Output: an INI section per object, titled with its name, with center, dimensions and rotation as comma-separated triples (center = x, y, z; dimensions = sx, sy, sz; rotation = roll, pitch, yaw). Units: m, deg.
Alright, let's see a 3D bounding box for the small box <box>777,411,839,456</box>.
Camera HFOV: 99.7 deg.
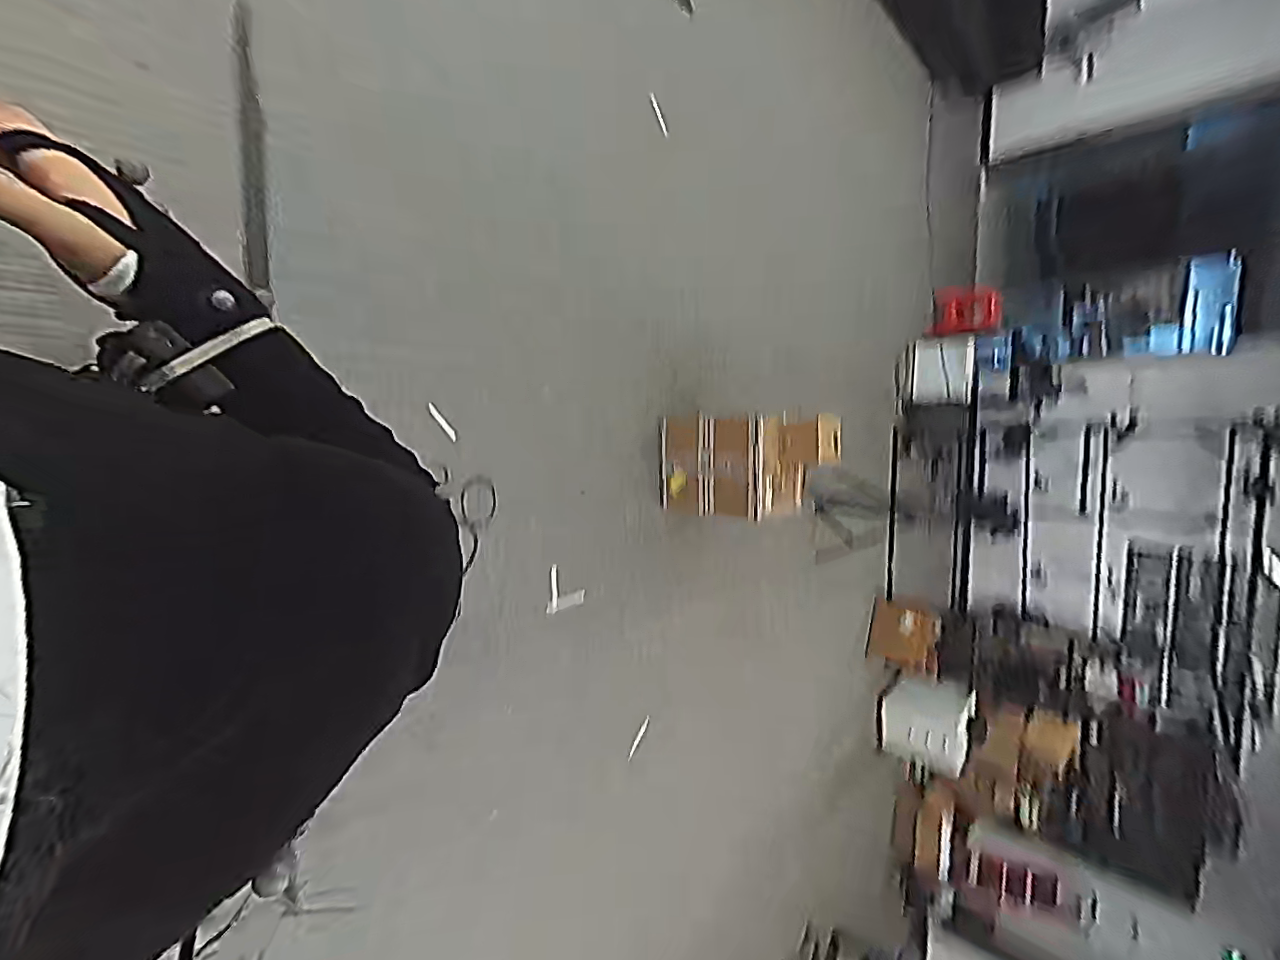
[small box]
center = 0.647, -0.177, 2.081
dimensions = 0.179, 0.176, 0.168
rotation = -6, 96, -43
